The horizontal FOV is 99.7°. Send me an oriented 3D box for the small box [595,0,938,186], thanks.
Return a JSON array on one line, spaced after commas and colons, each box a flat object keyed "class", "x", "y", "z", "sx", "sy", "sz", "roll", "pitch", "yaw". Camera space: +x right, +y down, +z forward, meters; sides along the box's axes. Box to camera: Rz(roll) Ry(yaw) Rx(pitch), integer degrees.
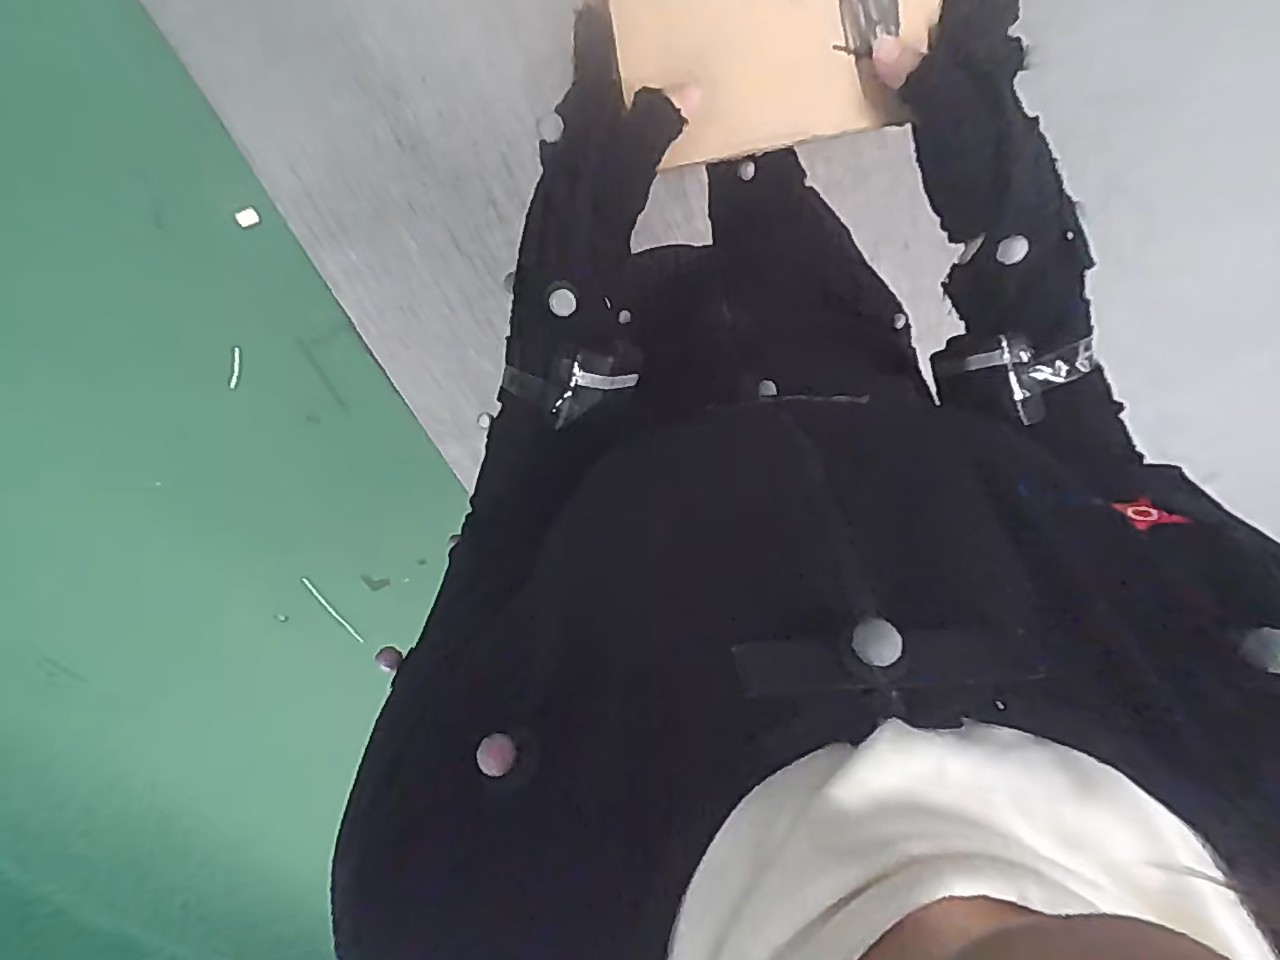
[{"class": "small box", "x": 0.066, "y": -0.305, "z": 0.353, "sx": 0.179, "sy": 0.176, "sz": 0.168, "roll": -13, "pitch": 118, "yaw": 4}]
